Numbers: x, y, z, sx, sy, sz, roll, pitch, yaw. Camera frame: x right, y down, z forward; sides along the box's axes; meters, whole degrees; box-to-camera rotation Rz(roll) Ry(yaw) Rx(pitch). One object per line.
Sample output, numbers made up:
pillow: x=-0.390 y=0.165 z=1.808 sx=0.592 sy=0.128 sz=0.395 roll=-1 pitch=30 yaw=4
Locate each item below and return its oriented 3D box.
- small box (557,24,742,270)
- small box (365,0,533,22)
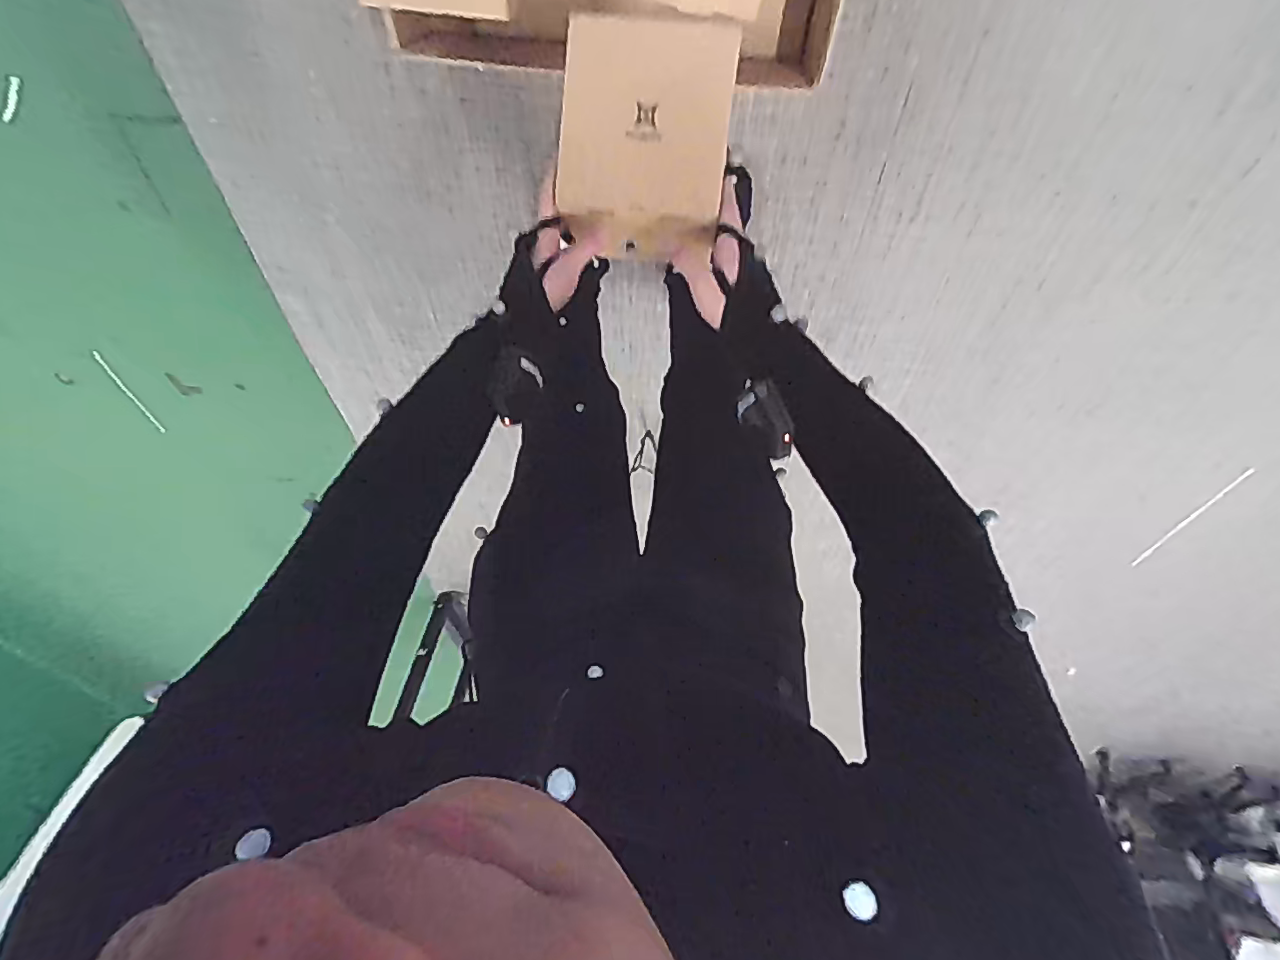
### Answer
small box: x=0.010 y=-0.348 z=0.598 sx=0.168 sy=0.176 sz=0.179 roll=6 pitch=100 yaw=2
small box: x=-0.205 y=-0.620 z=0.569 sx=0.168 sy=0.176 sz=0.179 roll=7 pitch=139 yaw=-1
